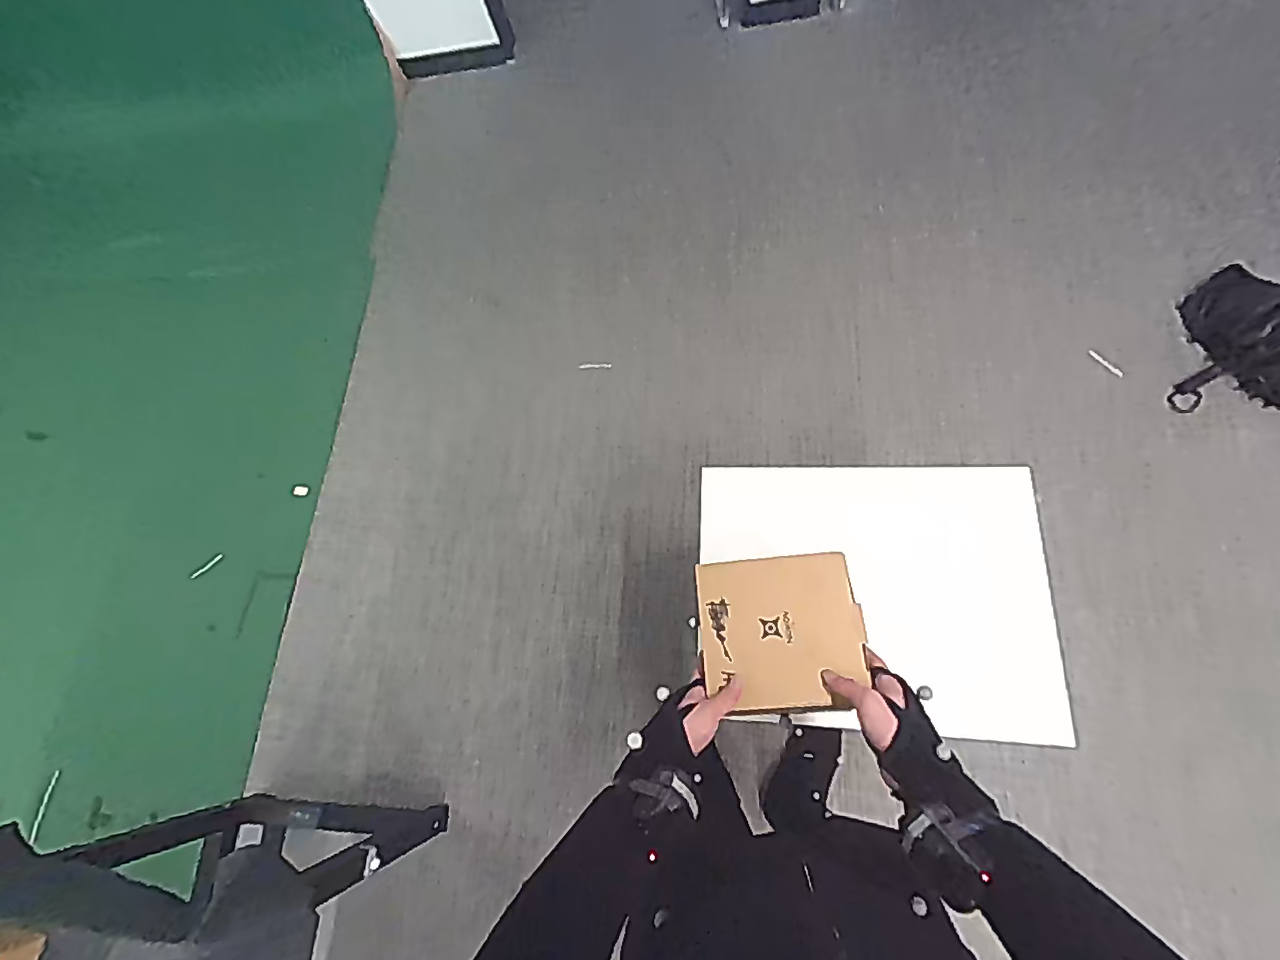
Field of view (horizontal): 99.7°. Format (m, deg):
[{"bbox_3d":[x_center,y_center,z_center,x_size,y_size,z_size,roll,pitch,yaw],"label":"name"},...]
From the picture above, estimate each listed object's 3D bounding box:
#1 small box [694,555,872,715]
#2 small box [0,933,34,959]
[{"bbox_3d":[0.163,0.198,0.669,0.179,0.176,0.168,-6,65,8],"label":"small box"},{"bbox_3d":[-0.907,0.676,0.650,0.168,0.176,0.179,0,74,12],"label":"small box"}]
